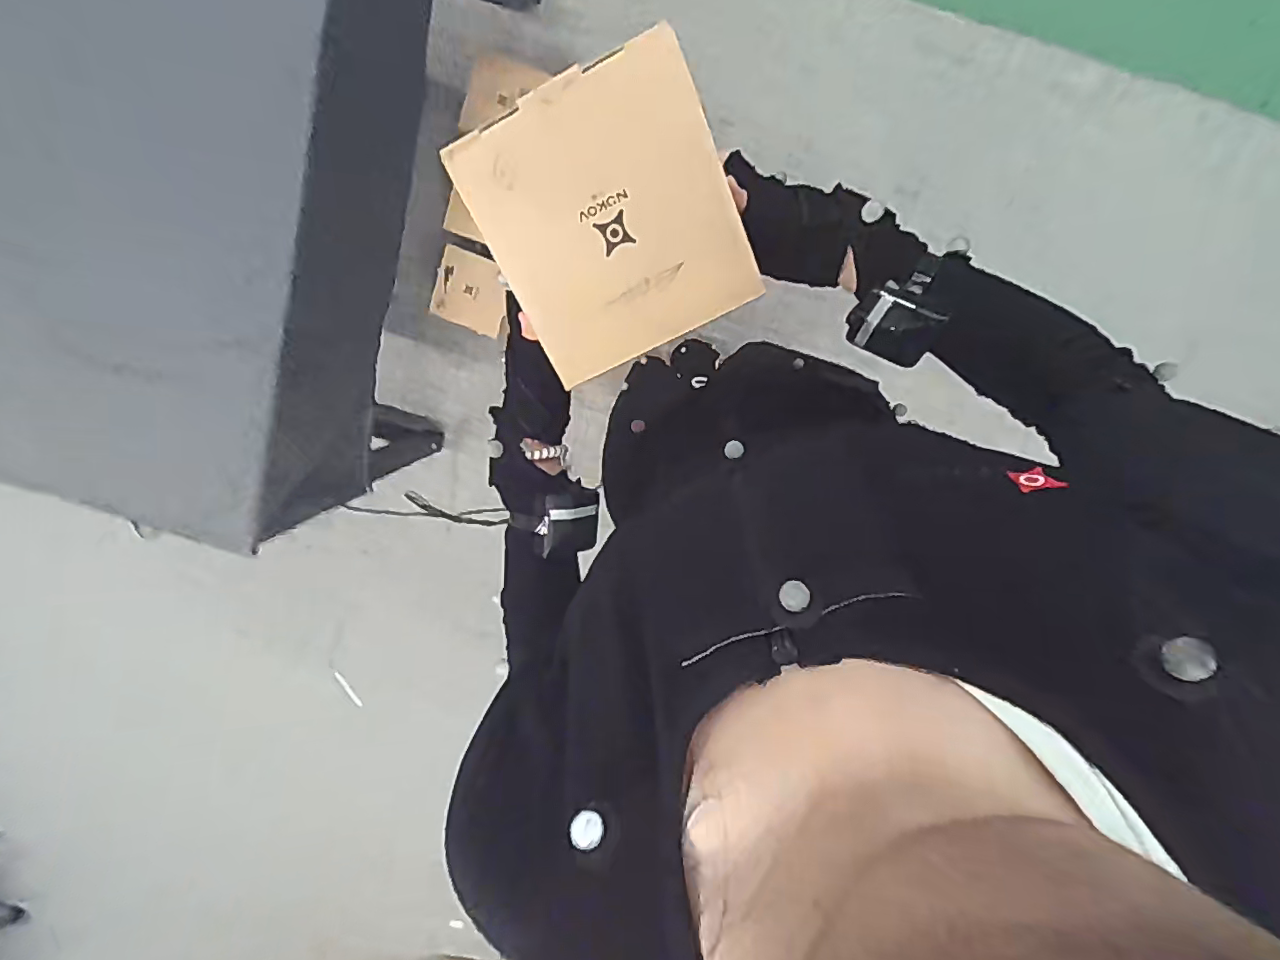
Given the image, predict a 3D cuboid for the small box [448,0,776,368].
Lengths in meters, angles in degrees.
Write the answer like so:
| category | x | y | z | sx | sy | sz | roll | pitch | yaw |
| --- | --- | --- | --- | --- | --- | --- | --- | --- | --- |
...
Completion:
| category | x | y | z | sx | sy | sz | roll | pitch | yaw |
| --- | --- | --- | --- | --- | --- | --- | --- | --- | --- |
| small box | -0.016 | -0.214 | 0.424 | 0.168 | 0.176 | 0.179 | -22 | 114 | 8 |
